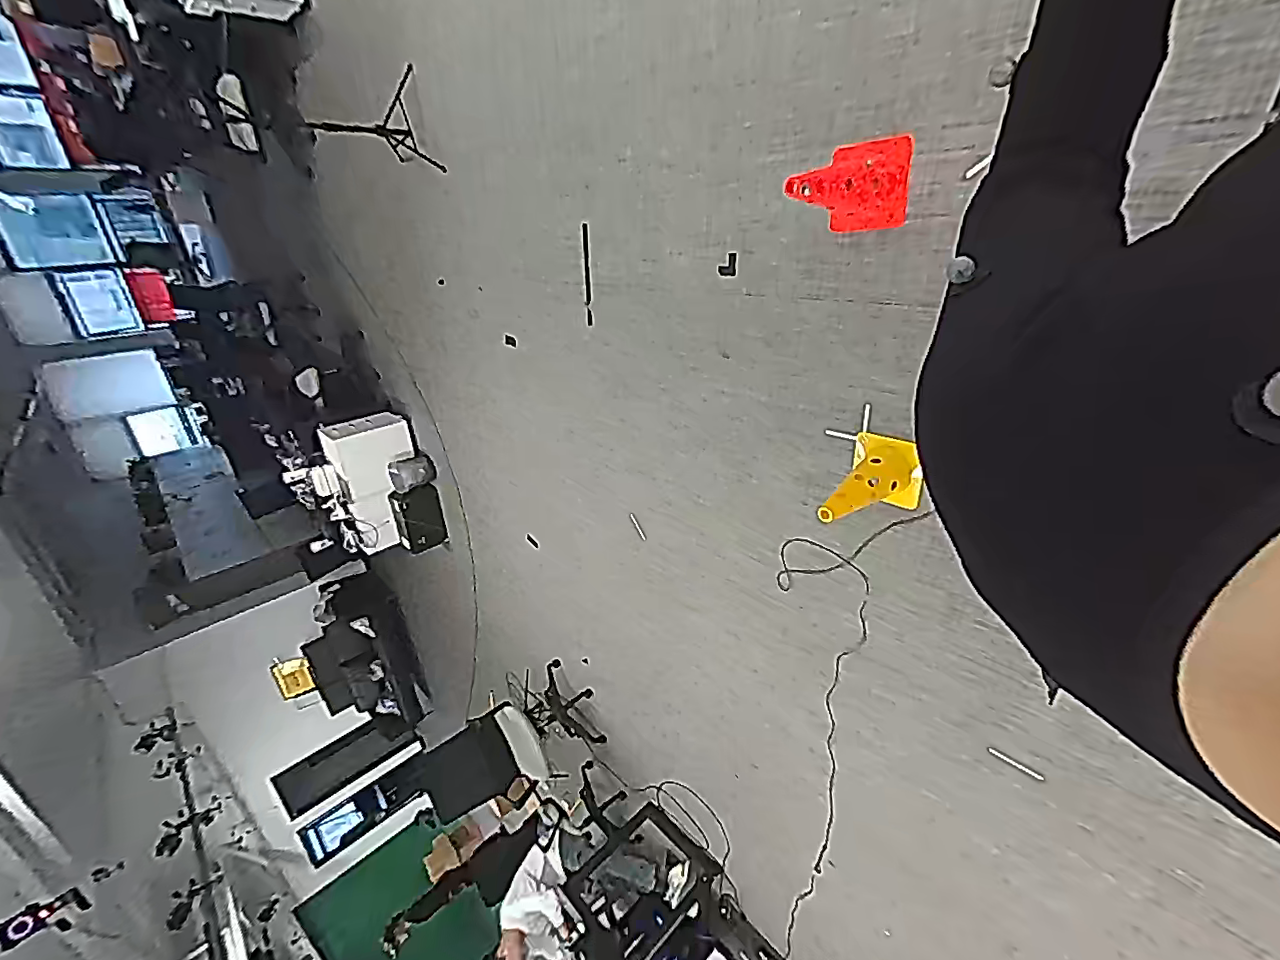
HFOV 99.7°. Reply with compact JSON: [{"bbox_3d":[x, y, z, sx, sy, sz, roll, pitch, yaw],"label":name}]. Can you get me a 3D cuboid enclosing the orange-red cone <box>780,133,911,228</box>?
[{"bbox_3d":[0.442,-0.682,1.247,0.198,0.360,0.199,21,126,43],"label":"orange-red cone"}]
